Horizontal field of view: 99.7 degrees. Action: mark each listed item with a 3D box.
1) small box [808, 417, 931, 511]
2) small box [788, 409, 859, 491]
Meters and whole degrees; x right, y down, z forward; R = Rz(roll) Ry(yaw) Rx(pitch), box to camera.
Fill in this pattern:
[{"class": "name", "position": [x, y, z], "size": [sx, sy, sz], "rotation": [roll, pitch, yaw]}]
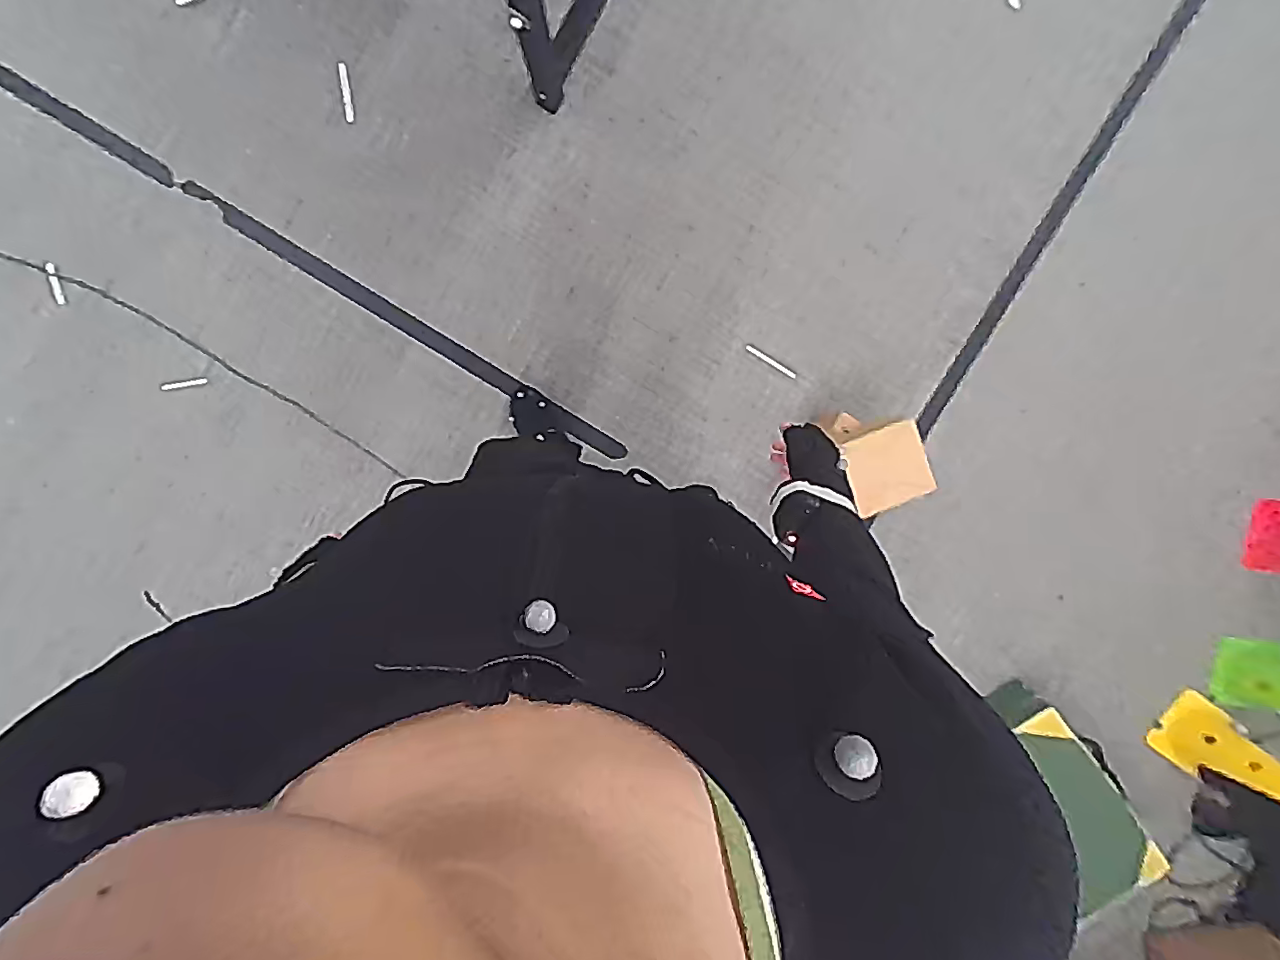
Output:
[{"class": "small box", "position": [0.516, -0.039, 1.230], "size": [0.179, 0.176, 0.168], "rotation": [-22, 97, 1]}, {"class": "small box", "position": [0.503, -0.065, 1.396], "size": [0.168, 0.176, 0.179], "rotation": [33, 95, -5]}]
